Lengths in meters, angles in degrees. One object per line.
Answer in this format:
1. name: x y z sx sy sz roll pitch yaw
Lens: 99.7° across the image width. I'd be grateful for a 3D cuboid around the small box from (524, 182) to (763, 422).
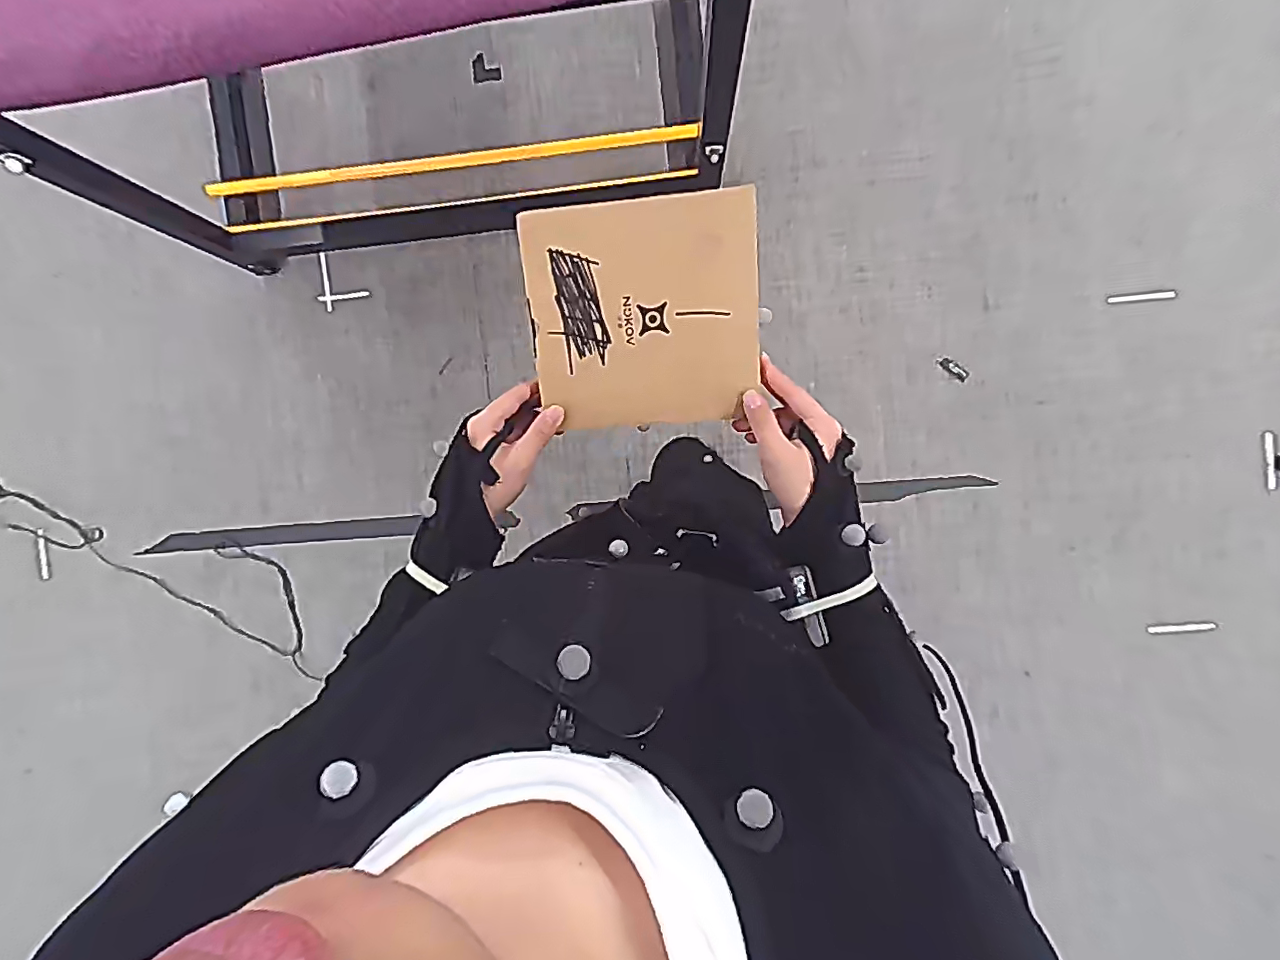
1. small box: 0.016 -0.147 0.483 0.179 0.176 0.168 -2 106 9
